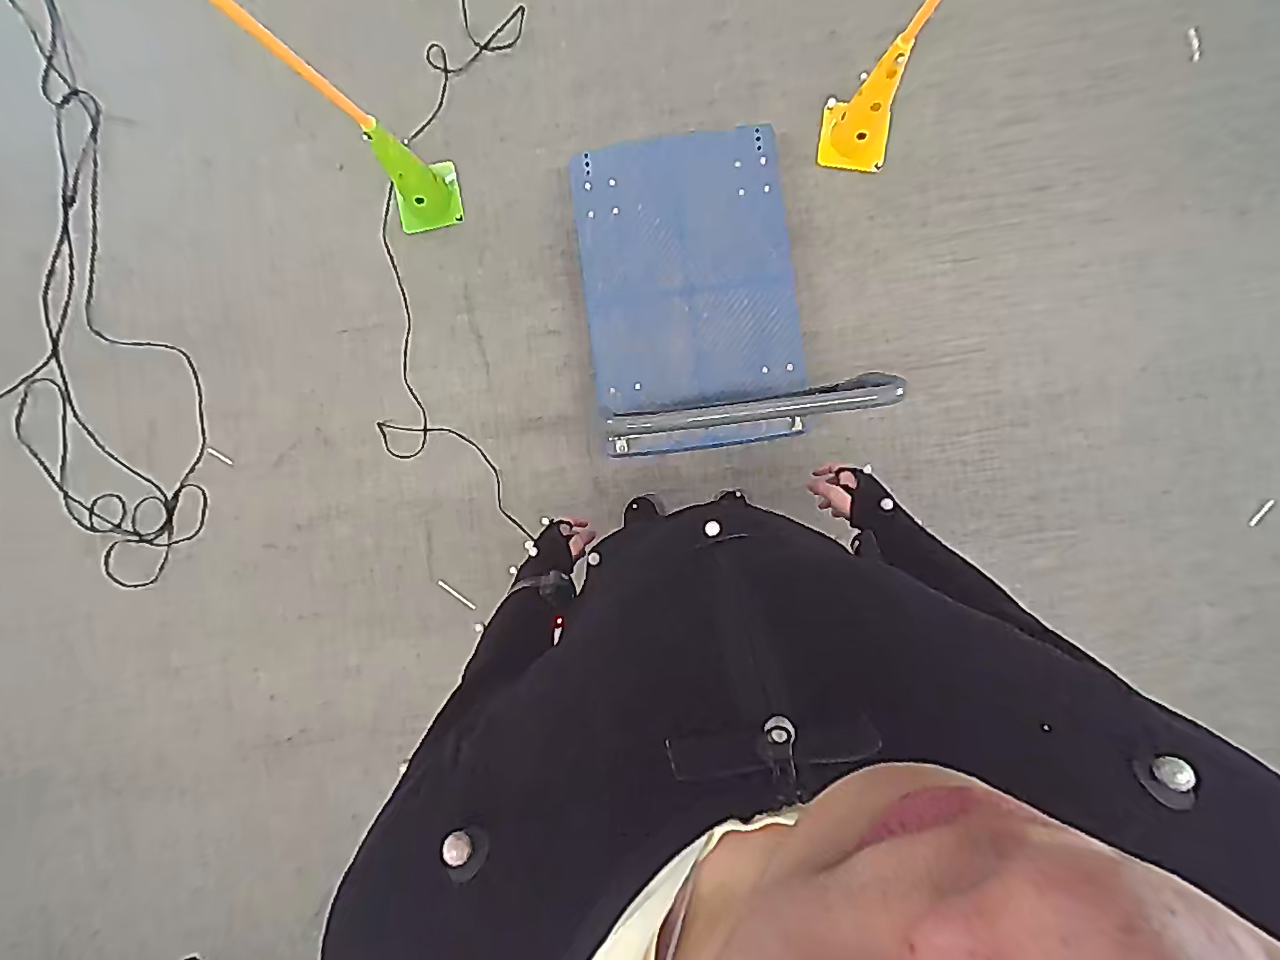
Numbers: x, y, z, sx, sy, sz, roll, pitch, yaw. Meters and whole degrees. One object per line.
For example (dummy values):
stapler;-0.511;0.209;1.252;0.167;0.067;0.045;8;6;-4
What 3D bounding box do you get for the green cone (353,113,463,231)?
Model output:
green cone;-0.677;-0.898;1.523;0.202;0.368;0.200;-12;88;4
